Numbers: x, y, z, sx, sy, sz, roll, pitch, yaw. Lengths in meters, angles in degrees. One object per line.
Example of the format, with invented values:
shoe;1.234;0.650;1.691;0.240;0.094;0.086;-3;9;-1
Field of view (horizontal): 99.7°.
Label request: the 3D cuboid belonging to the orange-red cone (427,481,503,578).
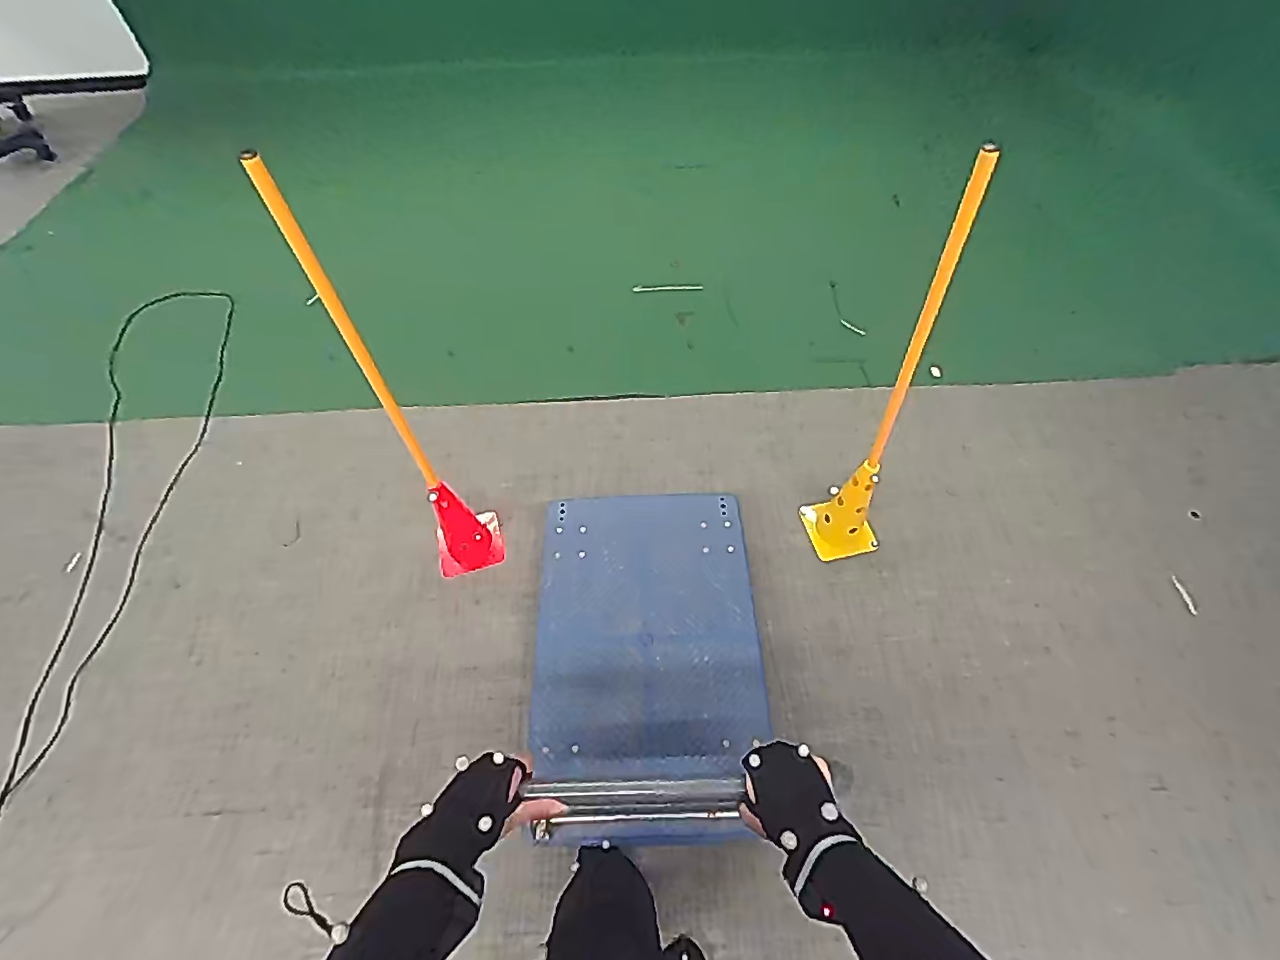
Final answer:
orange-red cone;-0.552;0.116;1.597;0.199;0.360;0.198;-15;56;-7
